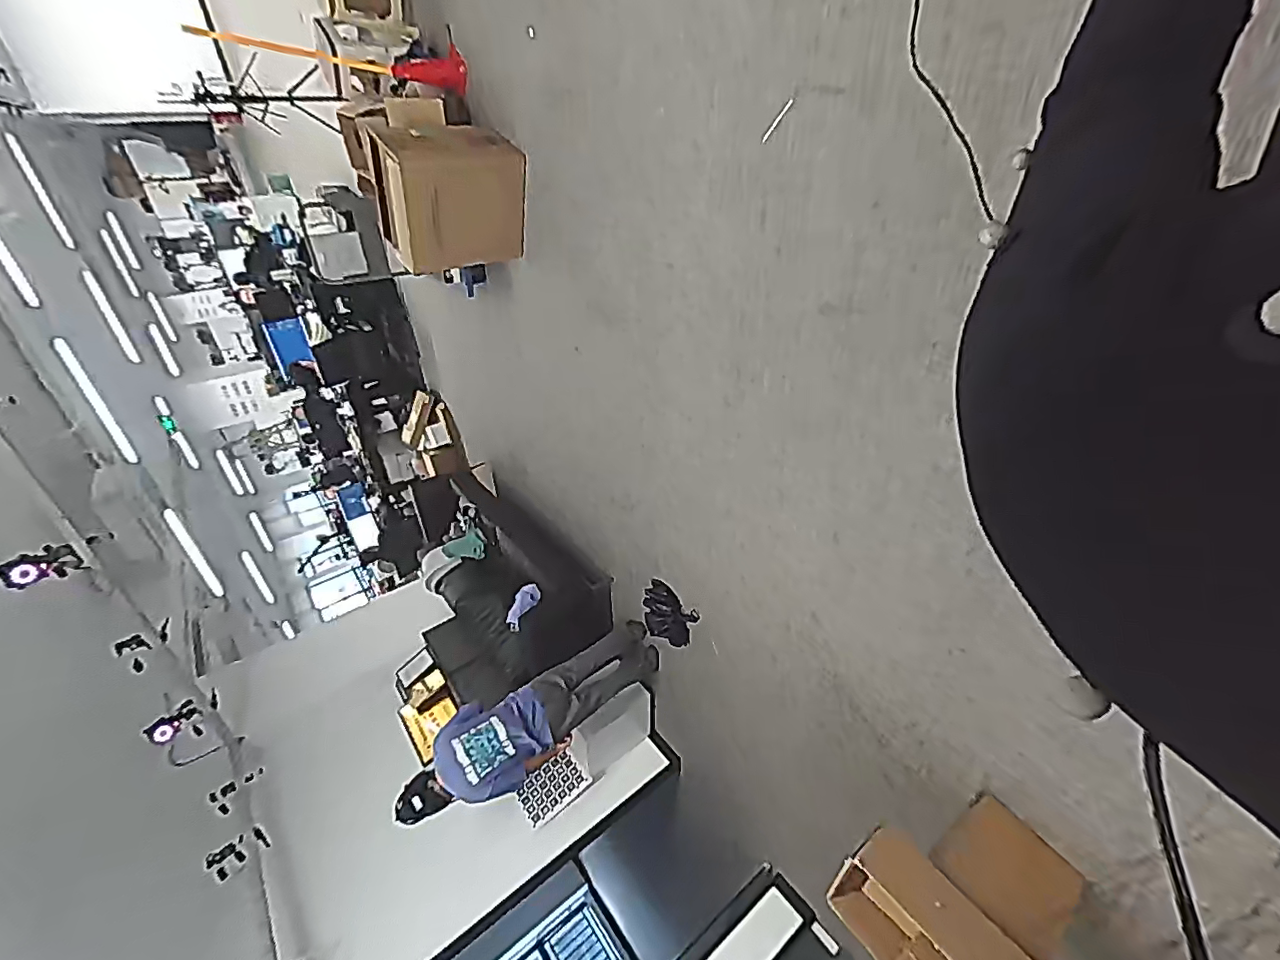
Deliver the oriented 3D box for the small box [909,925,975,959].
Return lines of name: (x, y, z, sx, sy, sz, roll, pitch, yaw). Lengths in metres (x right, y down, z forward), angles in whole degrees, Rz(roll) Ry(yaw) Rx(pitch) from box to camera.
small box: (0.898, 1.474, 1.597, 0.168, 0.176, 0.179, 38, 142, 42)
